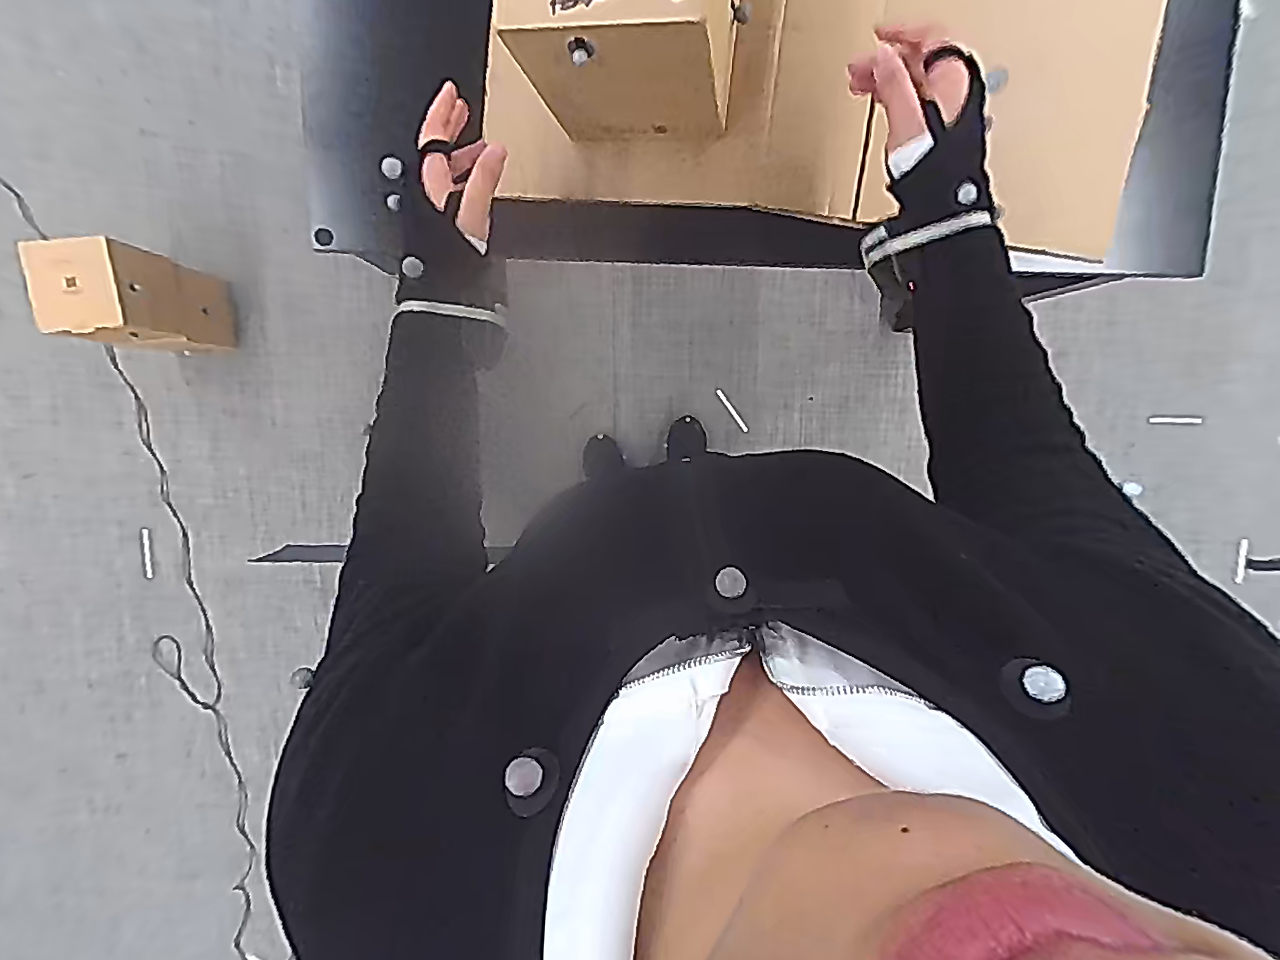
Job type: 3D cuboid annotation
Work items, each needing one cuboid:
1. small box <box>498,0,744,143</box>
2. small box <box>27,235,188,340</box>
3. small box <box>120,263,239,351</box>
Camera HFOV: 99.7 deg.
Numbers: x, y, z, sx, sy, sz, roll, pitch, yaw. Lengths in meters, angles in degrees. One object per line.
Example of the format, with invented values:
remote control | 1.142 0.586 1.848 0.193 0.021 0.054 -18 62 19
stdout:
small box | -0.002 -0.426 0.464 0.168 0.176 0.179 8 97 12
small box | -1.111 -0.397 1.146 0.168 0.176 0.179 -6 97 -3
small box | -1.117 -0.412 1.308 0.168 0.176 0.179 -3 99 -2
